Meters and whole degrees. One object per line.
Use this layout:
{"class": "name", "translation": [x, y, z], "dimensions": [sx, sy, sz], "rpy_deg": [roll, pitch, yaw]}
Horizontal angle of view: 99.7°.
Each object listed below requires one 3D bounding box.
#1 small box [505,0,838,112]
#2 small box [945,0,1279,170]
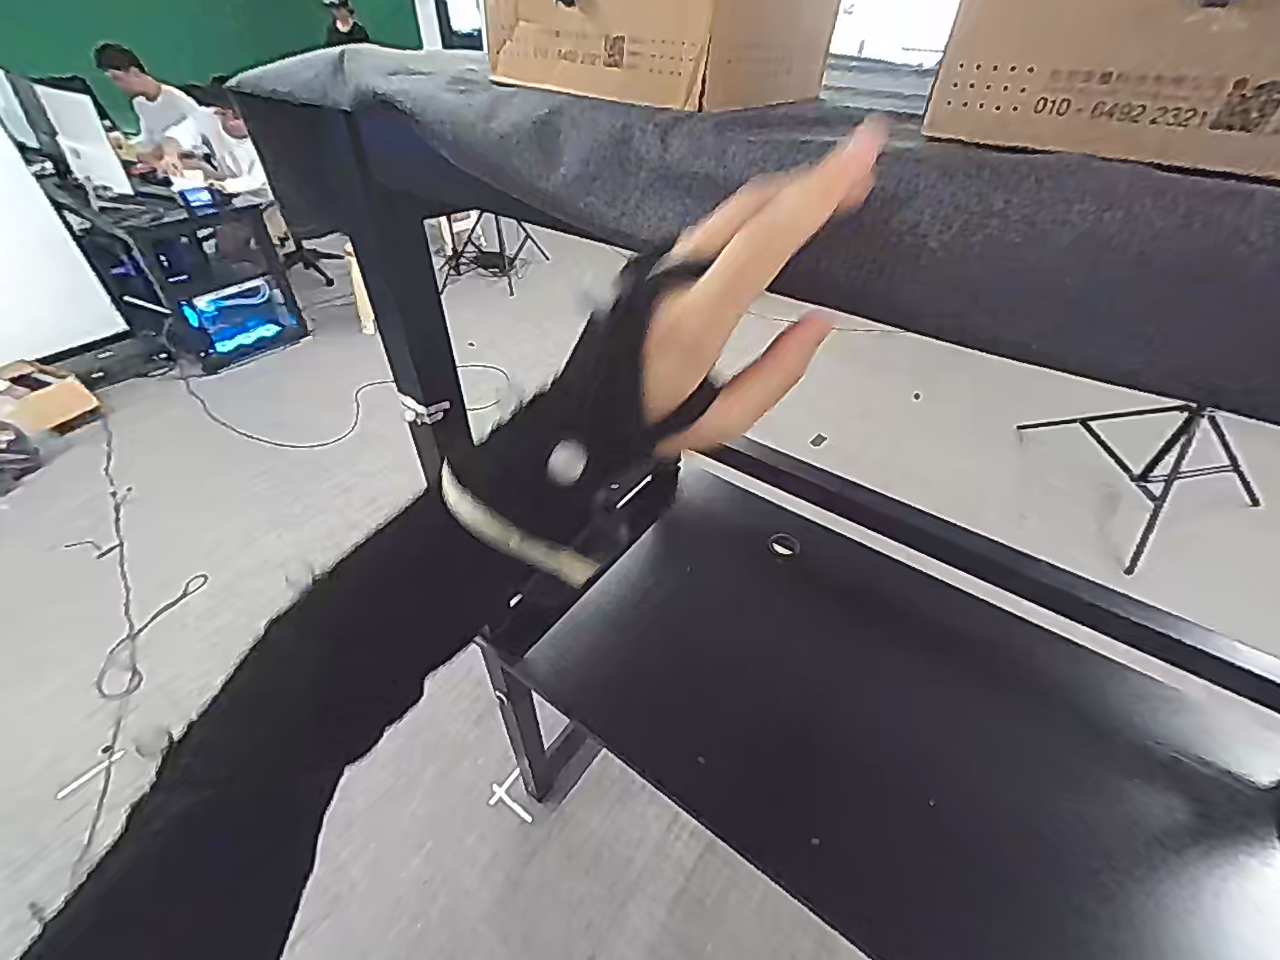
{"class": "small box", "translation": [0.025, -0.337, 0.326], "dimensions": [0.168, 0.176, 0.179], "rpy_deg": [26, 45, 24]}
{"class": "small box", "translation": [0.246, -0.229, 0.206], "dimensions": [0.168, 0.176, 0.179], "rpy_deg": [27, 45, 27]}
